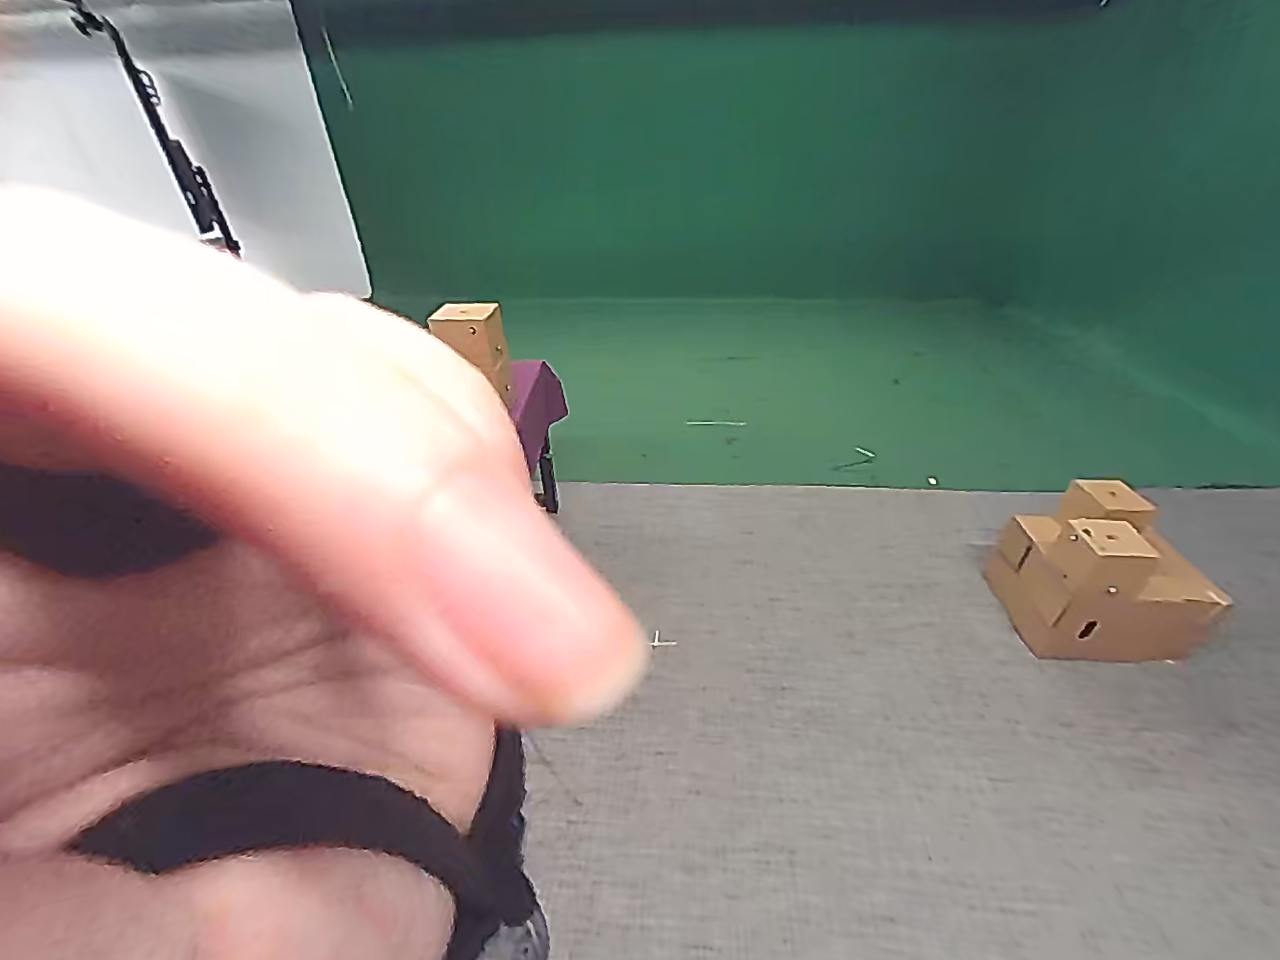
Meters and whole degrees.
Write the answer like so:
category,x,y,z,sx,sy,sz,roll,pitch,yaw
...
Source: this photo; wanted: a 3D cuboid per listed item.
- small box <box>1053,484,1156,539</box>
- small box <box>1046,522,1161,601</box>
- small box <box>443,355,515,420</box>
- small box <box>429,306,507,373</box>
category,x,y,z,sx,sy,sz,roll,pitch,yaw
small box,1.556,0.130,1.824,0.168,0.176,0.179,2,33,1
small box,1.393,0.250,1.640,0.179,0.176,0.168,3,35,4
small box,-0.527,-0.308,1.803,0.179,0.176,0.168,0,34,4
small box,-0.538,-0.446,1.717,0.179,0.176,0.168,2,34,3
